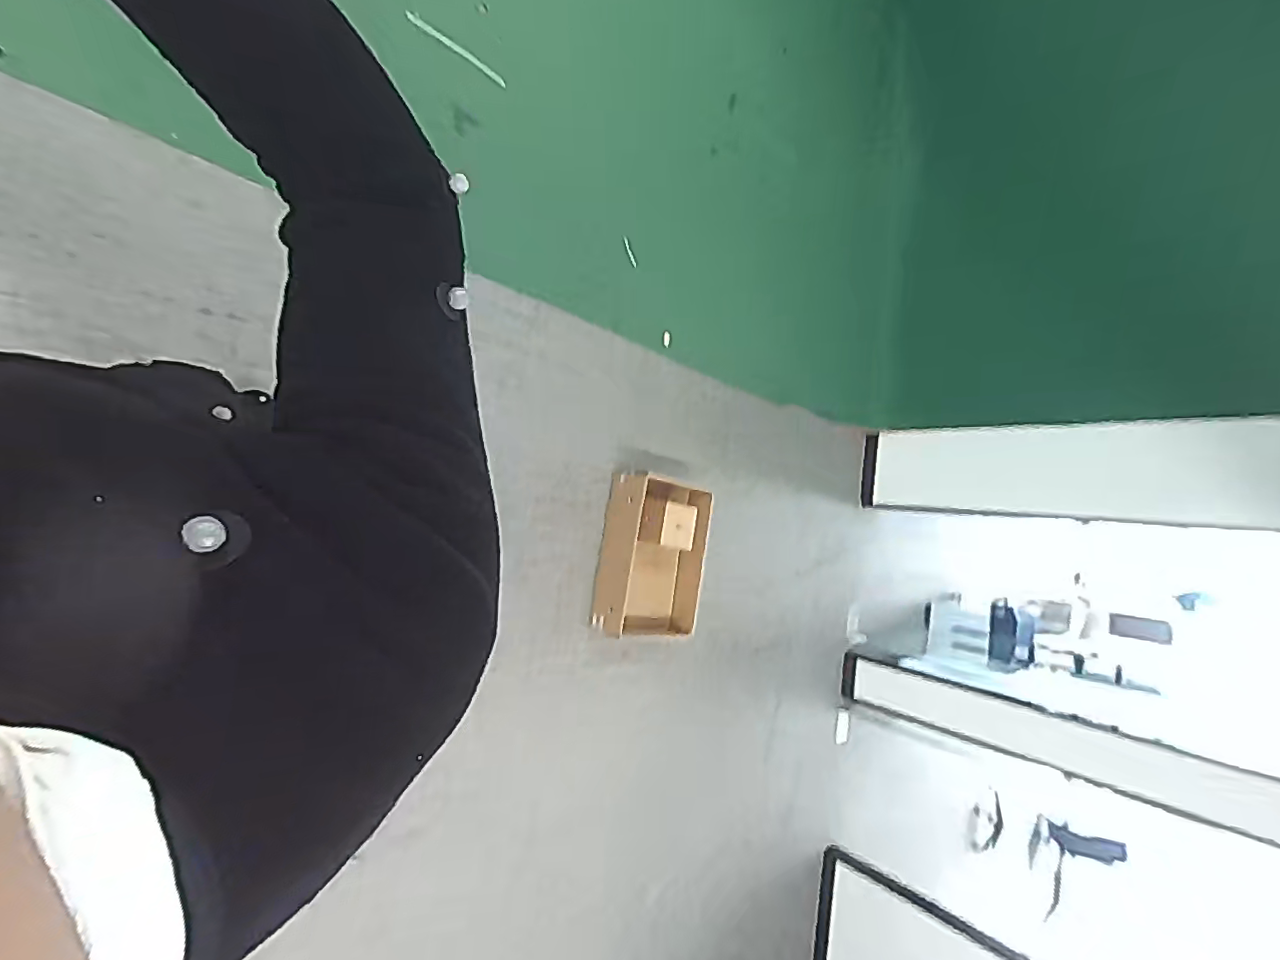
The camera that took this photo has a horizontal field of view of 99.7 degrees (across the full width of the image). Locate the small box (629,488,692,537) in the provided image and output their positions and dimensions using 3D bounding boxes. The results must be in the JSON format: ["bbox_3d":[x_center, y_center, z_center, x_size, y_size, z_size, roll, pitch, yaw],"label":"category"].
[{"bbox_3d":[0.078,0.126,2.148,0.179,0.176,0.168,13,85,-41],"label":"small box"}]
